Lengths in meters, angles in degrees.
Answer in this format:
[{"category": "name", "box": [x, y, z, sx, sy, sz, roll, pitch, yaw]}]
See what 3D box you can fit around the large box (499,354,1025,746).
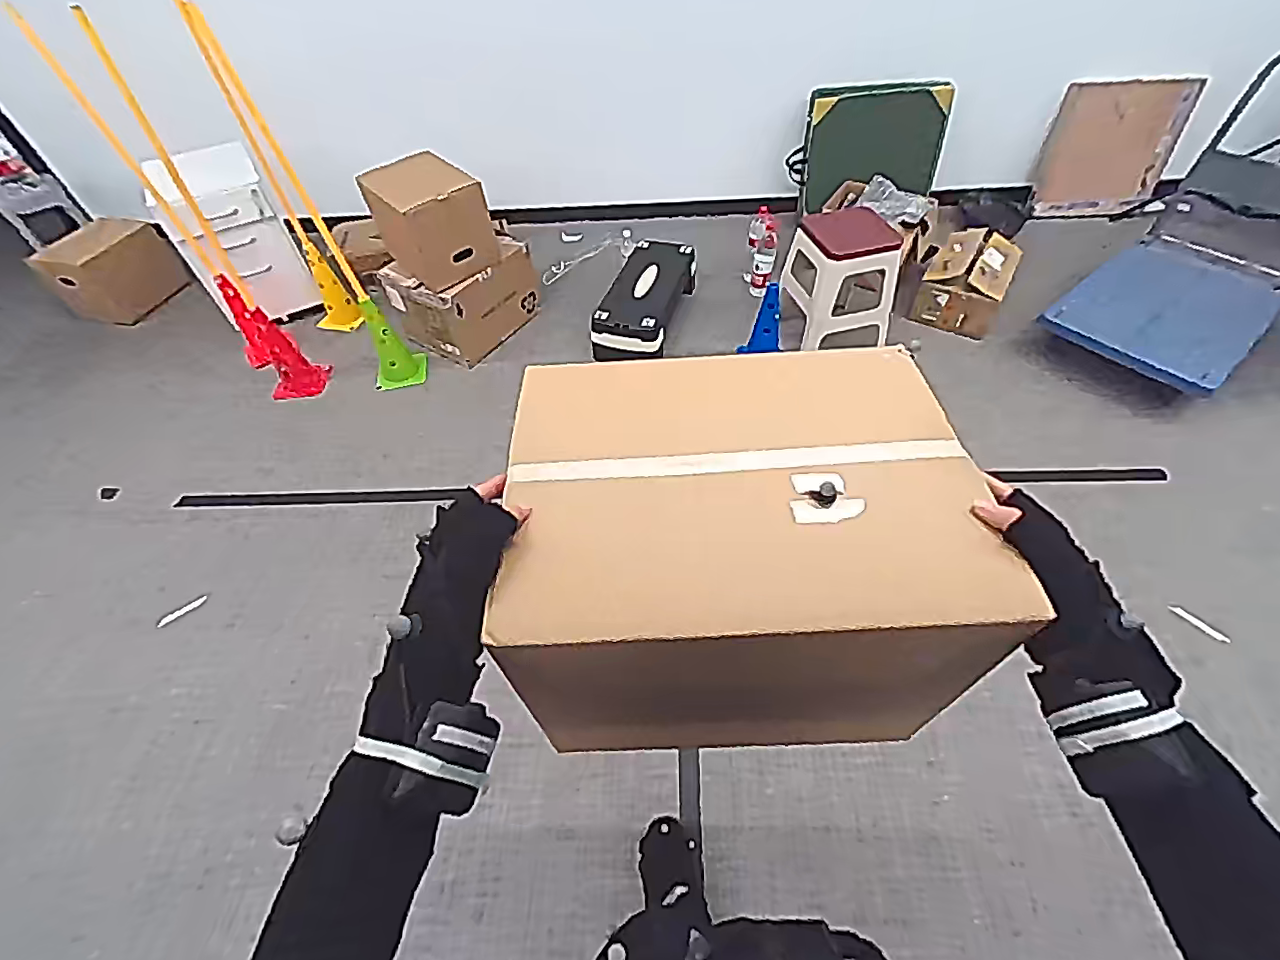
[{"category": "large box", "box": [0.089, 0.085, 0.608, 0.408, 0.320, 0.320, -3, 51, 0]}]
